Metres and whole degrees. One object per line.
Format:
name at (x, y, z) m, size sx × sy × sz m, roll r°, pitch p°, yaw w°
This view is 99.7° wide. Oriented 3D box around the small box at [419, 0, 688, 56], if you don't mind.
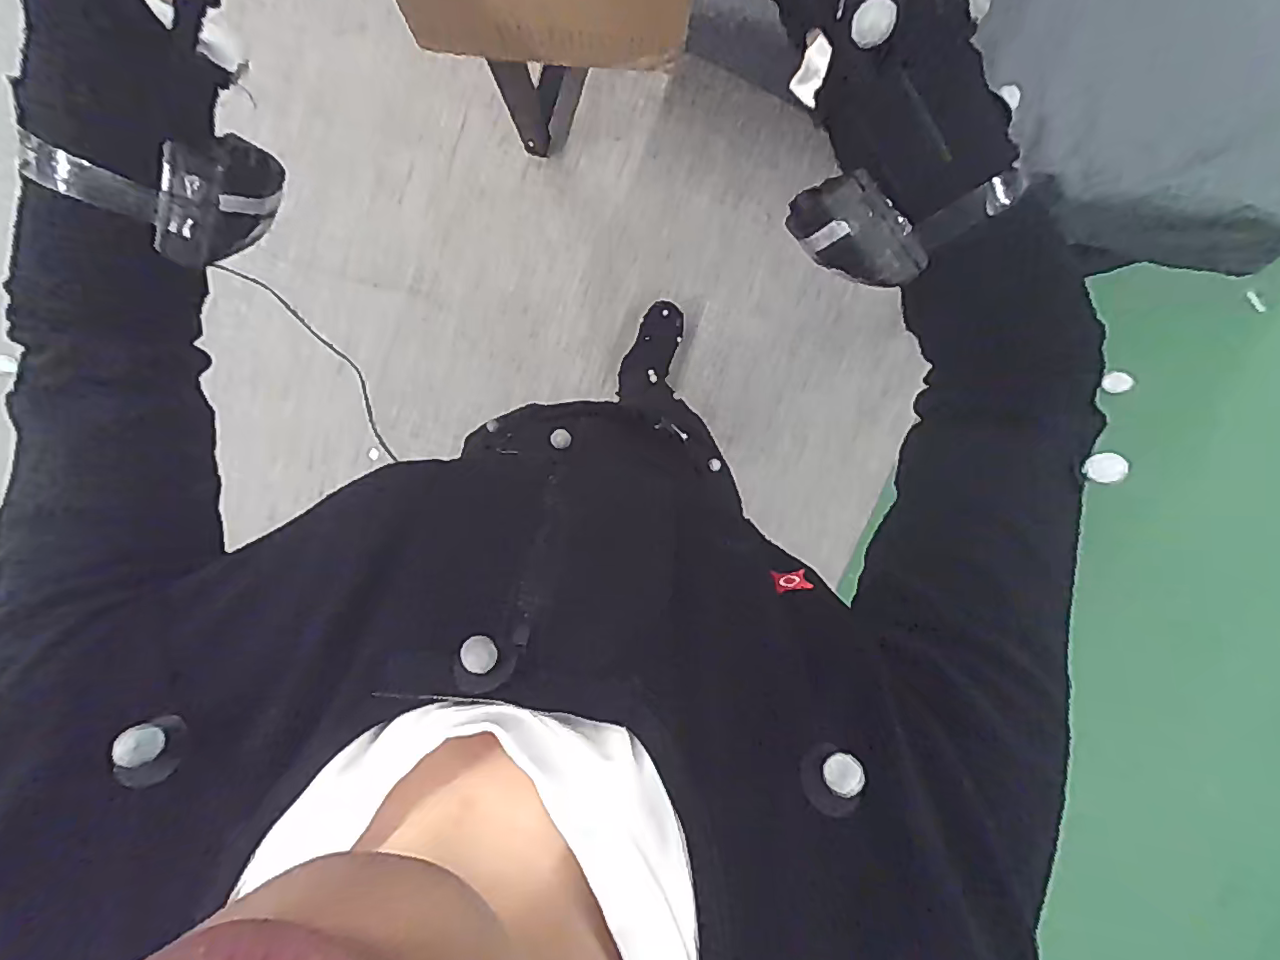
small box at (-0.048, -0.362, 0.278) m, size 0.179 × 0.176 × 0.168 m, roll 3°, pitch 96°, yaw -4°
